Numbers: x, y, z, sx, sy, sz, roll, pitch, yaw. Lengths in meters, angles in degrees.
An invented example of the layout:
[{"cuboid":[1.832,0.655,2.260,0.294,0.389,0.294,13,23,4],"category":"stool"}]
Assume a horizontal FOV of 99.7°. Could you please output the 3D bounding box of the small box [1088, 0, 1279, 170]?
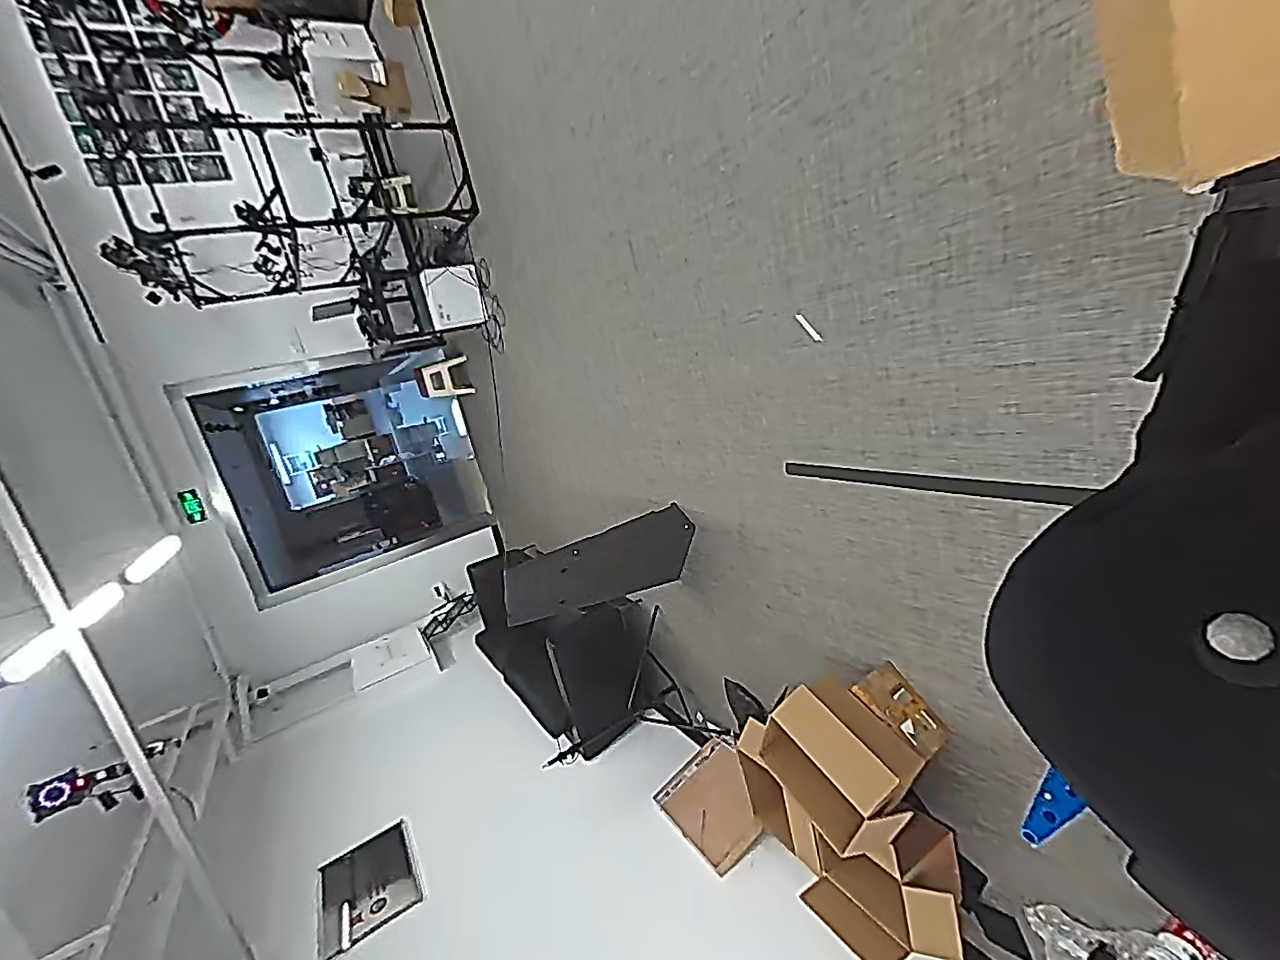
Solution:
[{"cuboid":[0.272,-0.236,0.192,0.168,0.176,0.179,-11,110,39],"category":"small box"}]
